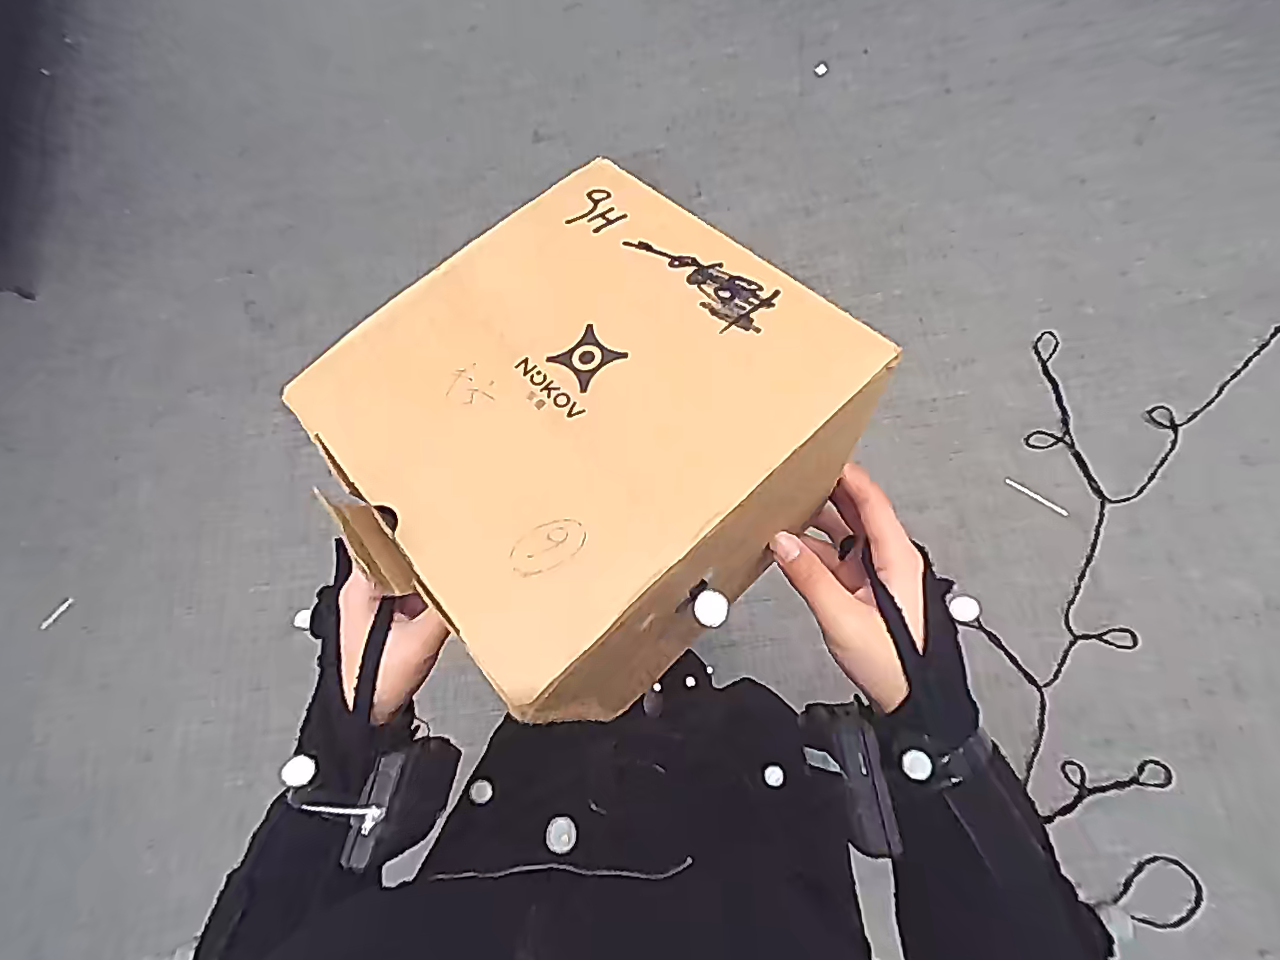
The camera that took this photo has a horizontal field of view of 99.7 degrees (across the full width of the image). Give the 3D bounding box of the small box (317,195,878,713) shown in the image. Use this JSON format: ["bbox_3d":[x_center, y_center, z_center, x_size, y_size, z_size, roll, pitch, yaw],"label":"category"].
[{"bbox_3d":[-0.013,0.001,0.288,0.179,0.176,0.168,-42,67,-11],"label":"small box"}]
